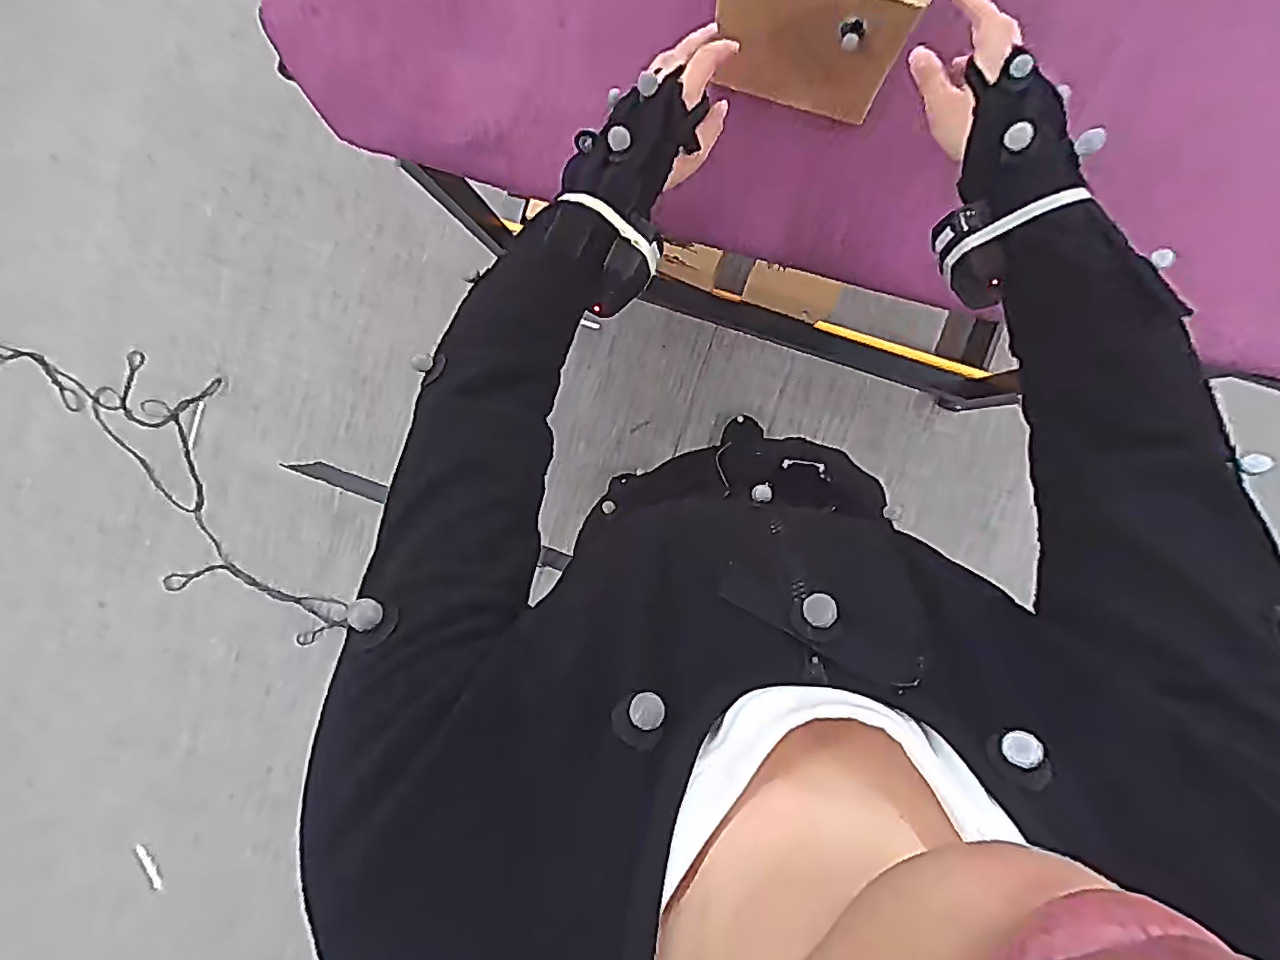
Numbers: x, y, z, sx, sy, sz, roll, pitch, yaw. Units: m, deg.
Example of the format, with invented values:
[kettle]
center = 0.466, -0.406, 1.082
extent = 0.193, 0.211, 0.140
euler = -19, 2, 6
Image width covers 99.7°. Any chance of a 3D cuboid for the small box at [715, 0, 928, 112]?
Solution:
[small box]
center = 0.180, -0.491, 0.510
extent = 0.179, 0.176, 0.168
euler = 19, 94, 3
